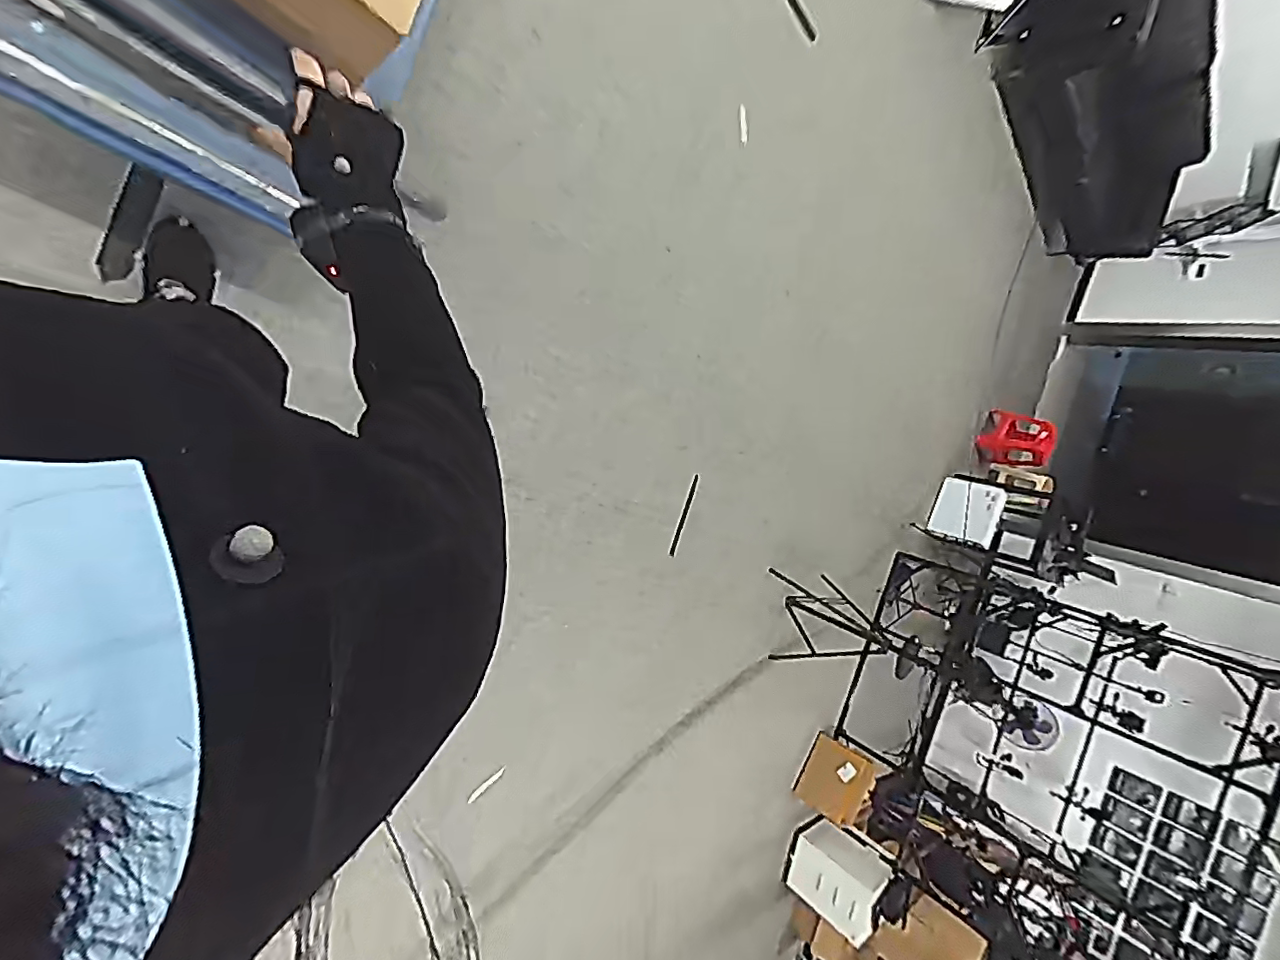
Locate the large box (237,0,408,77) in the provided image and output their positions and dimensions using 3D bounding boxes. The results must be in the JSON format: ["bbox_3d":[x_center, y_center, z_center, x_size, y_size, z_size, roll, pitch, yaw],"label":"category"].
[{"bbox_3d":[-0.566,-0.947,0.834,0.408,0.320,0.320,21,89,-44],"label":"large box"}]
